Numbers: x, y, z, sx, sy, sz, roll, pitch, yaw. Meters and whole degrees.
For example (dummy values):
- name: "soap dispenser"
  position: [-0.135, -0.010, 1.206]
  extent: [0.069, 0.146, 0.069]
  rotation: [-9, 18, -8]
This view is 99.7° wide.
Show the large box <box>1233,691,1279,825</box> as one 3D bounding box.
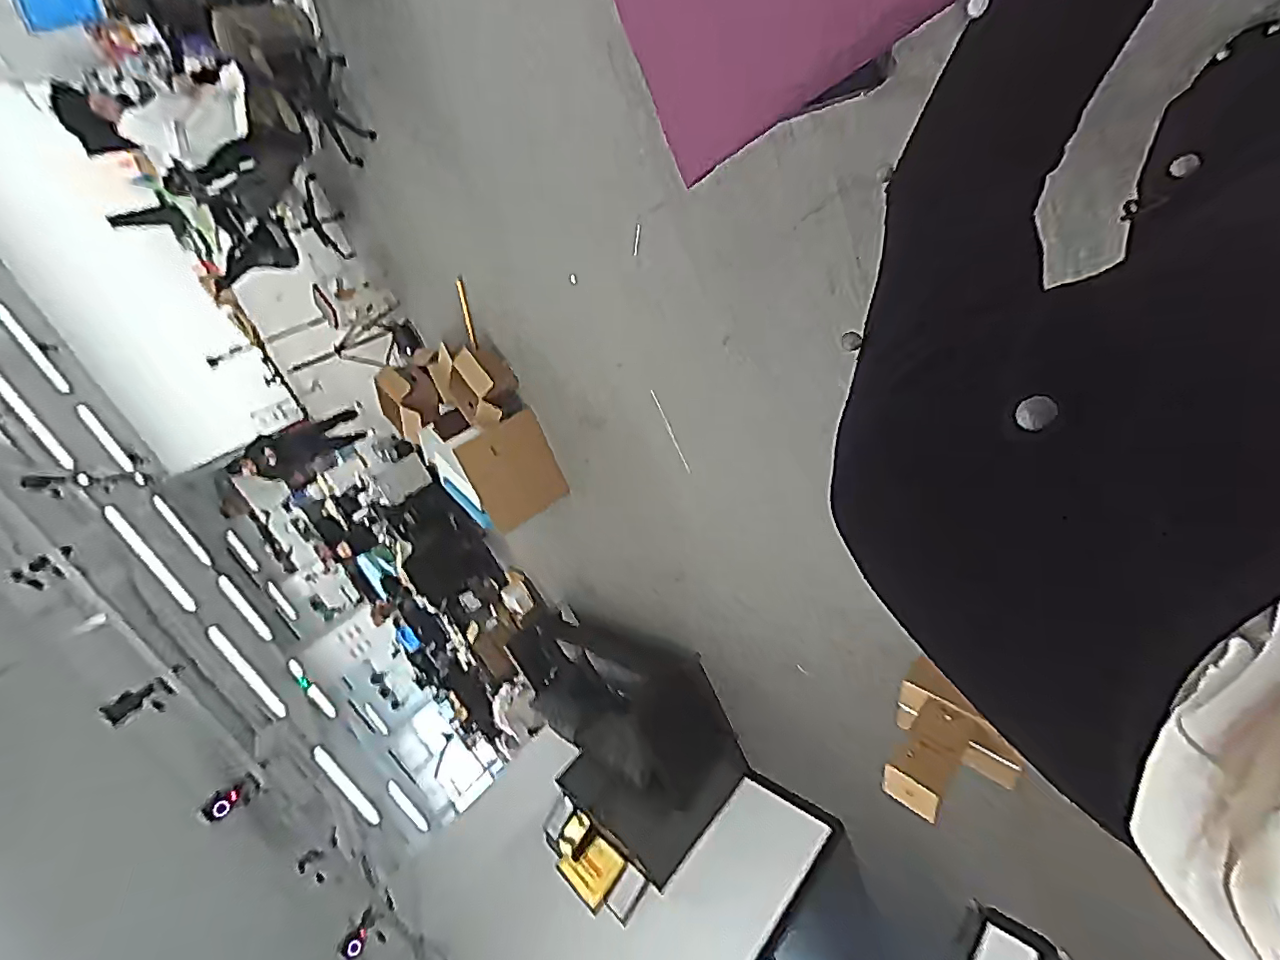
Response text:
- name: "large box"
  position: [1.758, 0.700, 1.257]
  extent: [0.320, 0.320, 0.408]
  rotation: [46, 148, 9]

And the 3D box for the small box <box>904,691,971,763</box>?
- name: "small box"
  position: [1.056, 0.899, 1.931]
  extent: [0.168, 0.176, 0.179]
  rotation: [24, 137, 40]

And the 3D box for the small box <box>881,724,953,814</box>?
- name: "small box"
  position: [0.944, 0.978, 1.843]
  extent: [0.168, 0.176, 0.179]
  rotation: [23, 138, 41]
